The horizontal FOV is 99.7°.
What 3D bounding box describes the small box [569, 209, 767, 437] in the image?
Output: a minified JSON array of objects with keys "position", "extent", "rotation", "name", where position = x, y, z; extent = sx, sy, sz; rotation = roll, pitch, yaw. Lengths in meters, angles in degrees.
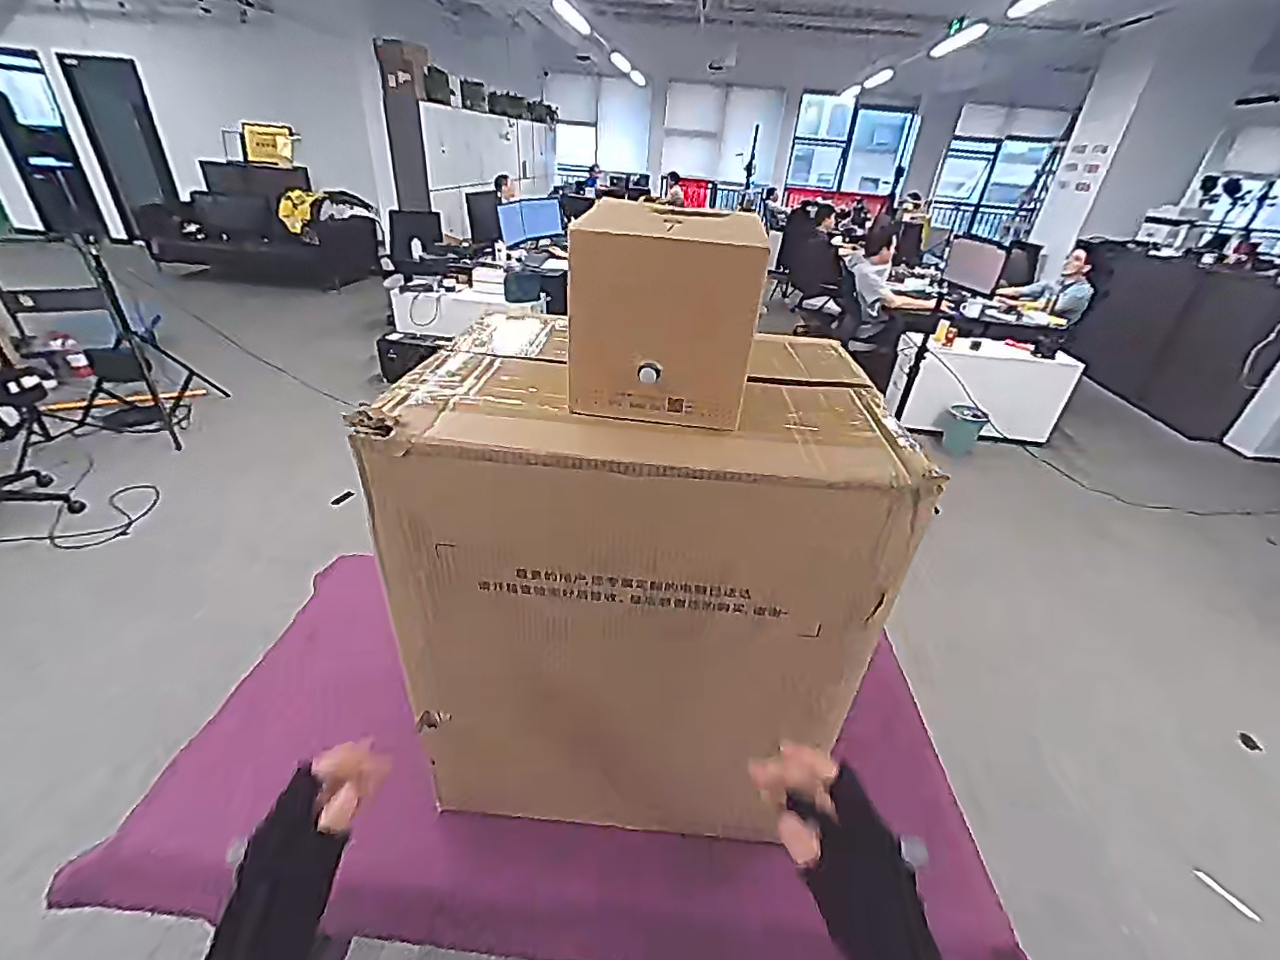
[{"position":[0.026,-0.163,0.545],"extent":[0.168,0.176,0.179],"rotation":[6,34,4],"name":"small box"}]
